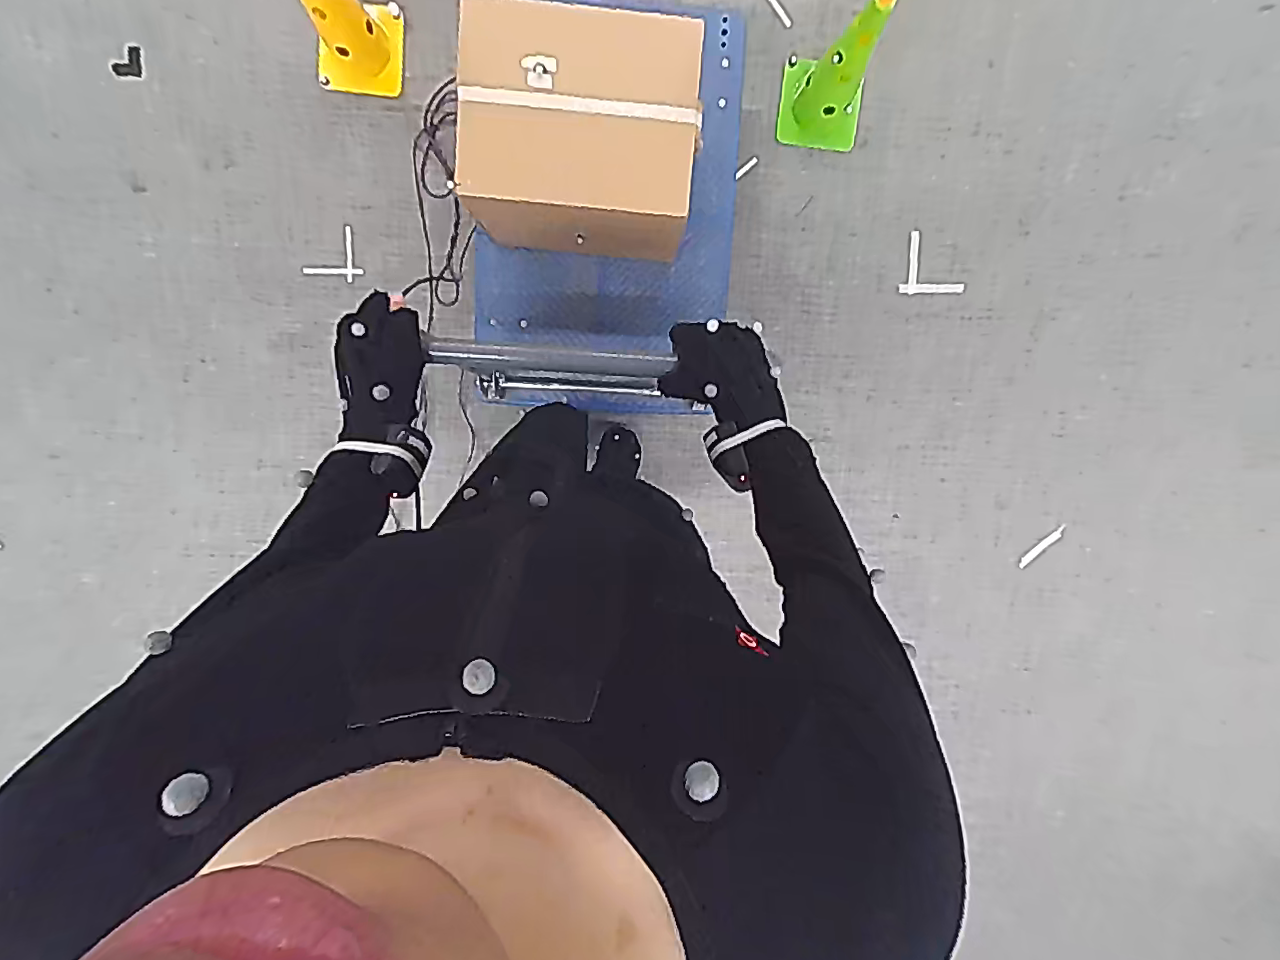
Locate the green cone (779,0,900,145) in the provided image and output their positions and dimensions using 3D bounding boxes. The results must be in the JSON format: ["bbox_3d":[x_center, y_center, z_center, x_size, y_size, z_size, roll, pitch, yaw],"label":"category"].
[{"bbox_3d":[0.458,-0.928,1.177,0.202,0.368,0.200,6,98,-3],"label":"green cone"}]

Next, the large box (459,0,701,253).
[{"bbox_3d":[-0.104,-0.652,1.061,0.408,0.320,0.320,5,98,-1],"label":"large box"}]
